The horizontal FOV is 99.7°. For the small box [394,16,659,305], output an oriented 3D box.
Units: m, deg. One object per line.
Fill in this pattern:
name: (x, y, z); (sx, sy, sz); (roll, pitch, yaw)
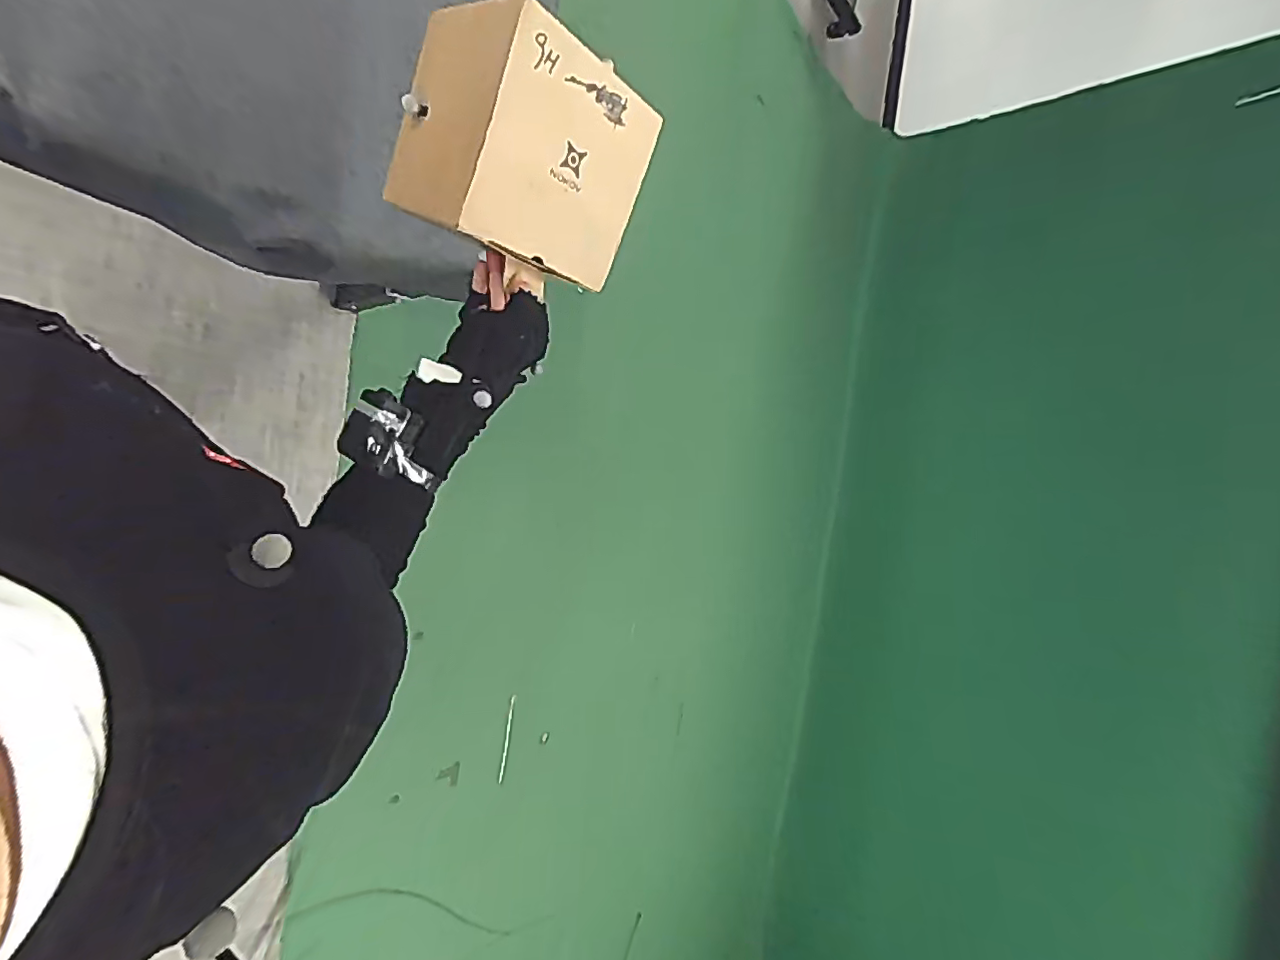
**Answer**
small box: (-0.119, -0.302, 0.533); (0.168, 0.176, 0.179); (6, 113, -49)
